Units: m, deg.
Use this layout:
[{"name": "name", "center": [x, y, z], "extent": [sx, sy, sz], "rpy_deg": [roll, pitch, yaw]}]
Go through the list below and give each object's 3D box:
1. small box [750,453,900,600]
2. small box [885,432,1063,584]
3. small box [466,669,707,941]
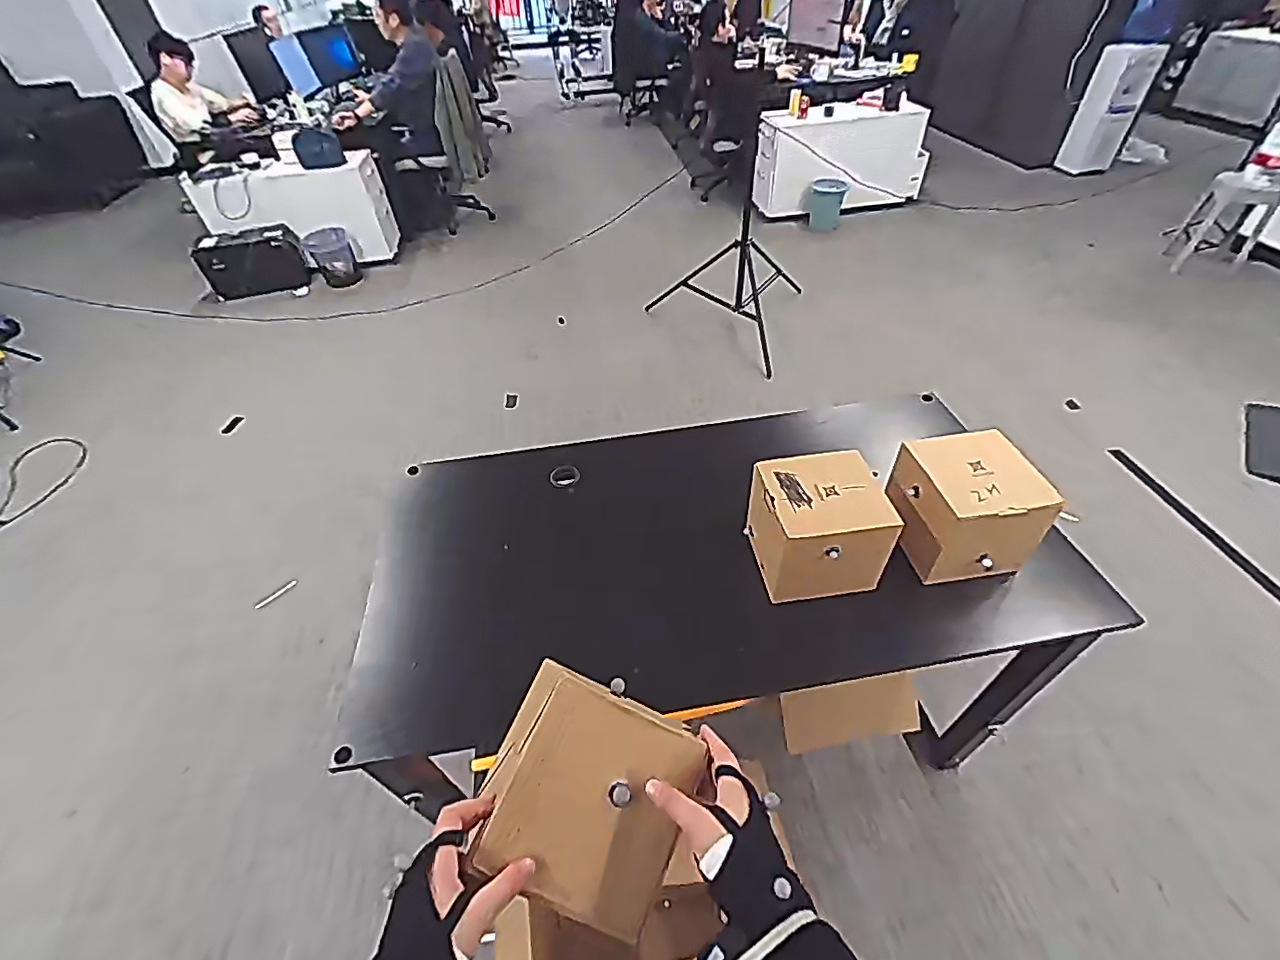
[{"name": "small box", "center": [0.283, 0.079, 0.879], "extent": [0.179, 0.176, 0.168], "rpy_deg": [-7, 45, -3]}, {"name": "small box", "center": [0.526, 0.046, 0.892], "extent": [0.168, 0.176, 0.179], "rpy_deg": [-8, 45, -2]}, {"name": "small box", "center": [-0.061, 0.309, 0.558], "extent": [0.176, 0.168, 0.179], "rpy_deg": [28, 71, -7]}]
